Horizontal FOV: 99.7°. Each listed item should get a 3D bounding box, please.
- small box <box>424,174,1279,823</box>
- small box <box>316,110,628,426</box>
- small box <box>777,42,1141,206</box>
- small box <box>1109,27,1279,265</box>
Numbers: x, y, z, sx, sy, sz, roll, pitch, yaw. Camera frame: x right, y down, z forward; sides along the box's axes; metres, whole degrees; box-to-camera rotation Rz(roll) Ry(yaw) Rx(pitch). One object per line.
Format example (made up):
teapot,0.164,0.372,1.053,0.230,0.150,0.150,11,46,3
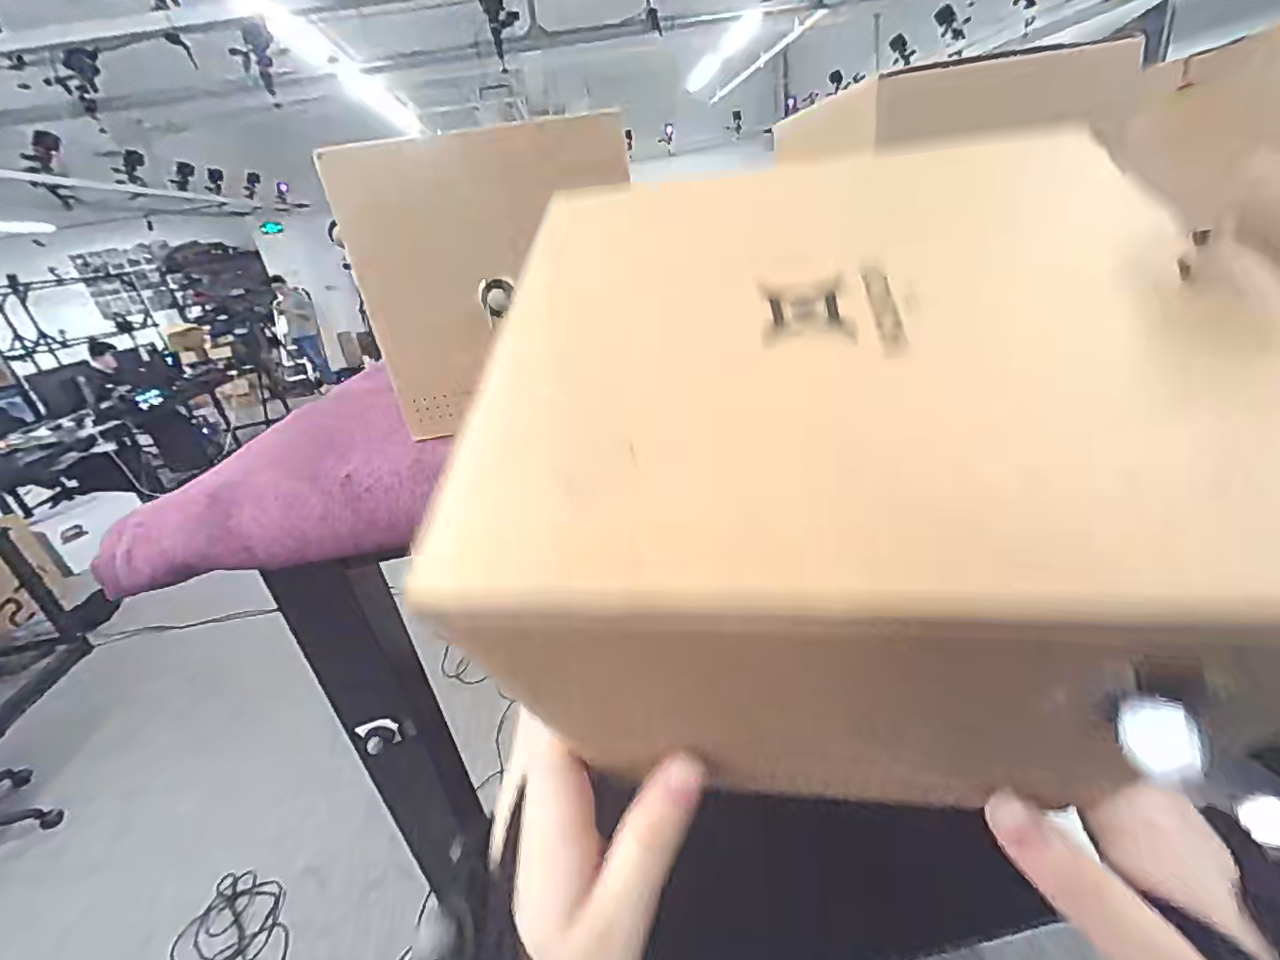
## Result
small box,0.061,0.019,0.202,0.179,0.176,0.168,-2,52,10
small box,-0.093,-0.146,0.397,0.168,0.176,0.179,-10,26,-5
small box,0.221,-0.209,0.427,0.179,0.176,0.168,-12,25,-4
small box,0.558,-0.288,0.470,0.179,0.176,0.168,-11,24,-2
